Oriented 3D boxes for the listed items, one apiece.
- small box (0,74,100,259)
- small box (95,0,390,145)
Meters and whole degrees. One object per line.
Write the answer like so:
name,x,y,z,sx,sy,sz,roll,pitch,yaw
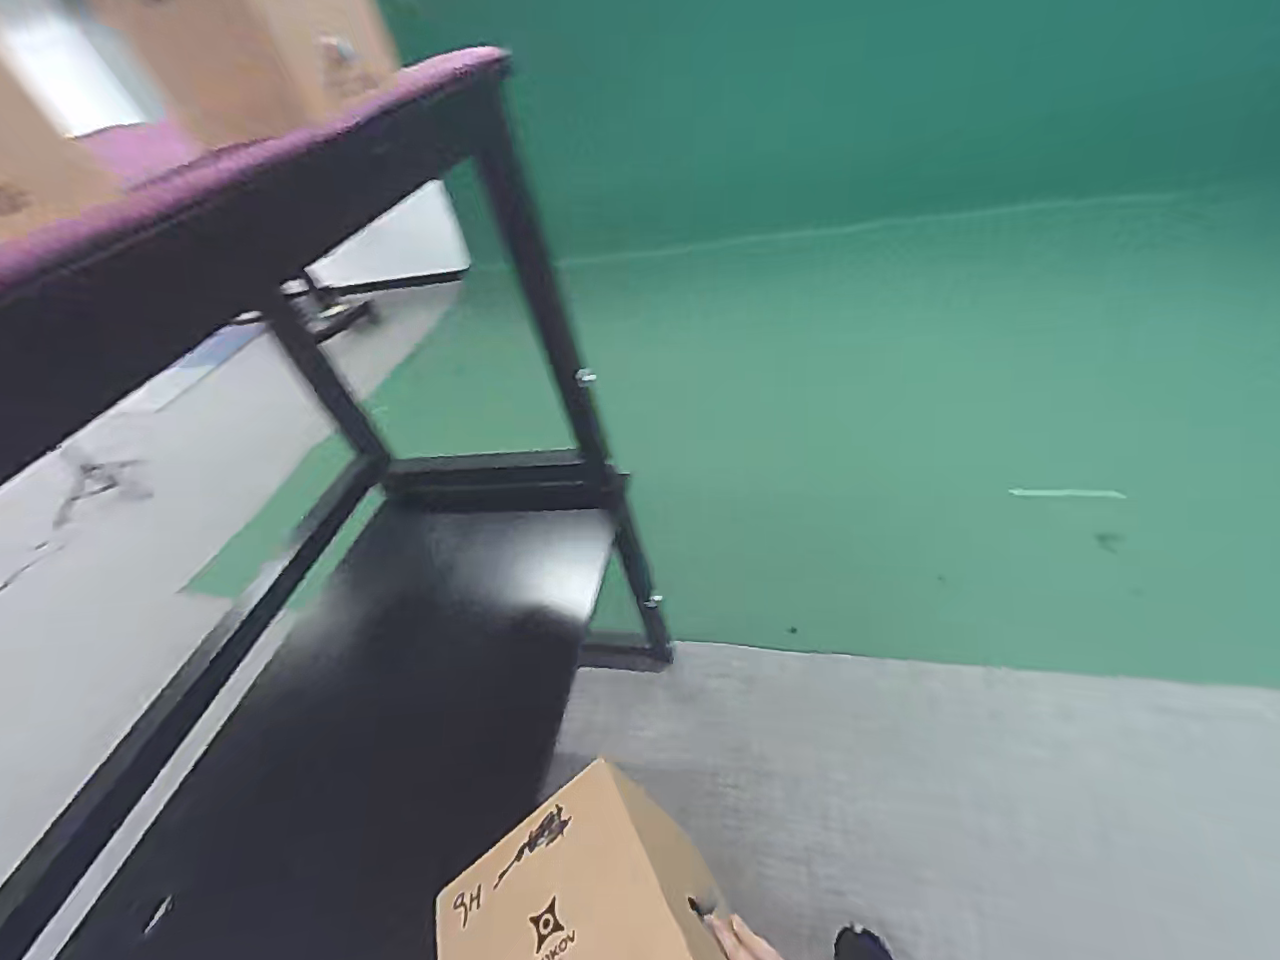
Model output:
small box,-0.480,-0.191,0.292,0.179,0.176,0.168,1,45,19
small box,-0.404,-0.464,0.554,0.179,0.176,0.168,3,46,19
